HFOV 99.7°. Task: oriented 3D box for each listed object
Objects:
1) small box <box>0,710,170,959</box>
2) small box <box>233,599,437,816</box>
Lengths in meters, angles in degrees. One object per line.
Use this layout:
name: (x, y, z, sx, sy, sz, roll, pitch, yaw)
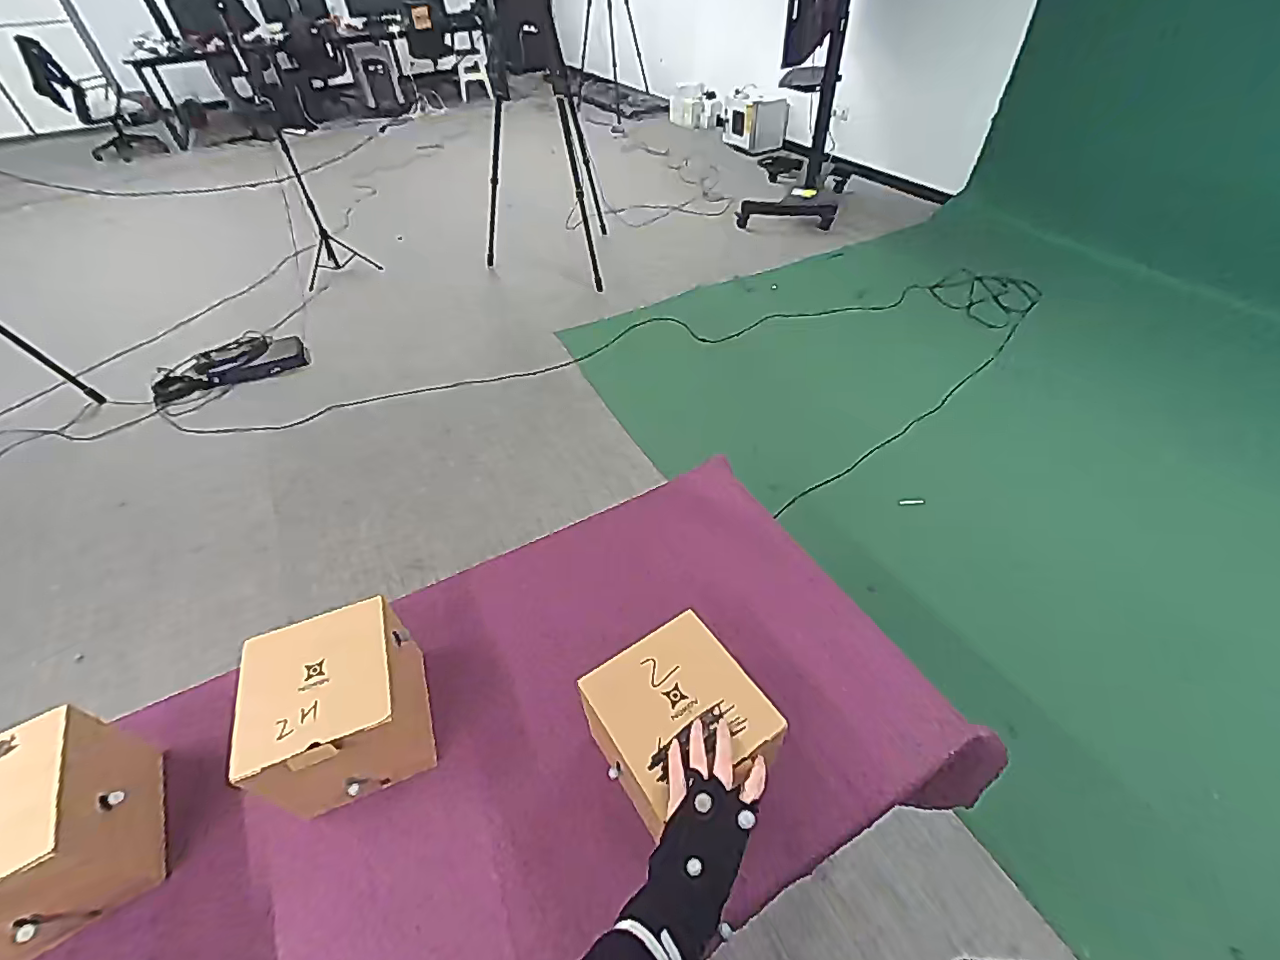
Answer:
small box: (-0.669, 0.402, 0.602, 0.168, 0.176, 0.179, -26, 51, -21)
small box: (-0.375, 0.290, 0.693, 0.168, 0.176, 0.179, -18, 48, -13)
